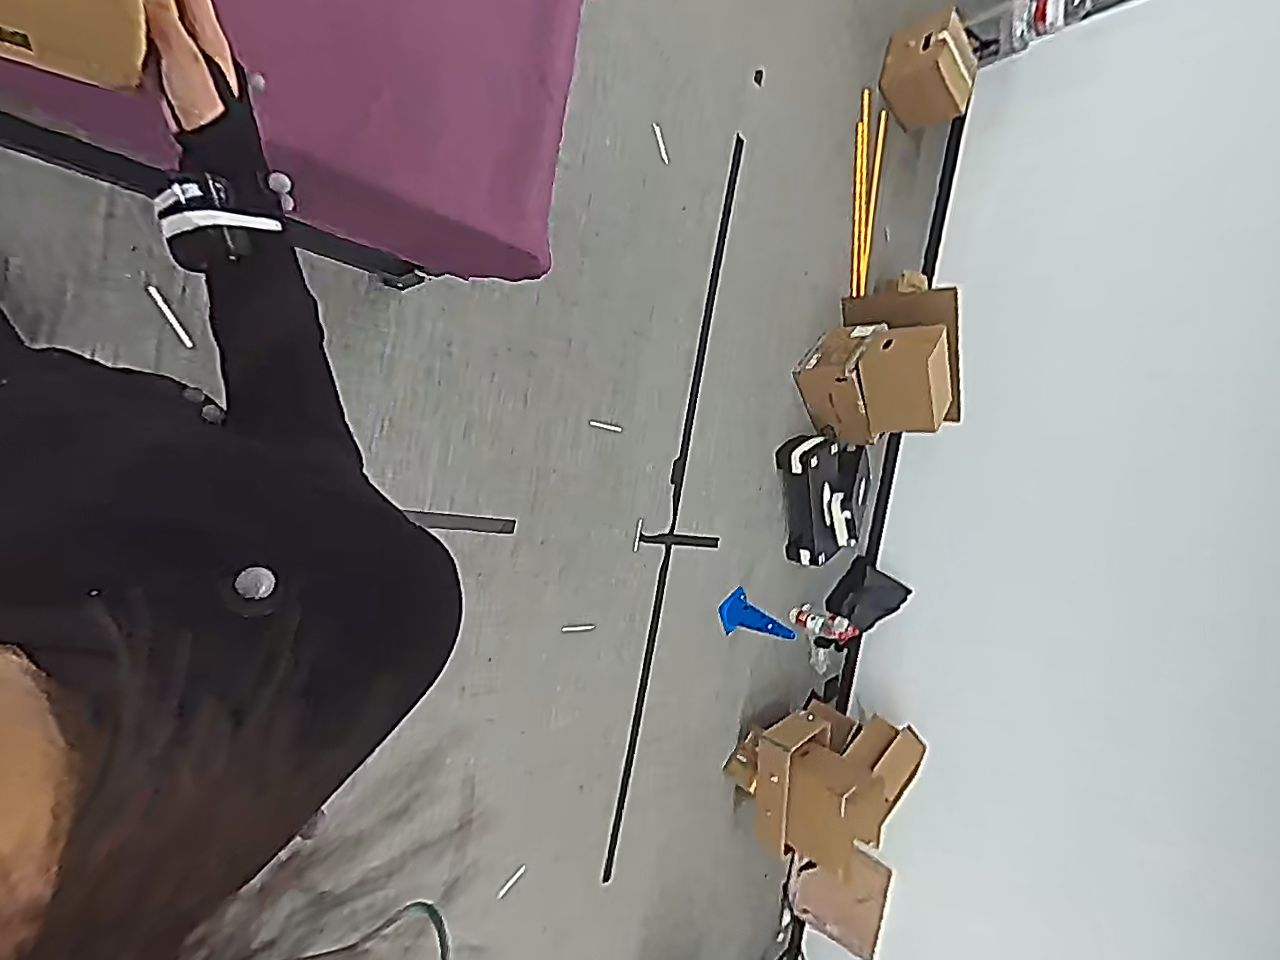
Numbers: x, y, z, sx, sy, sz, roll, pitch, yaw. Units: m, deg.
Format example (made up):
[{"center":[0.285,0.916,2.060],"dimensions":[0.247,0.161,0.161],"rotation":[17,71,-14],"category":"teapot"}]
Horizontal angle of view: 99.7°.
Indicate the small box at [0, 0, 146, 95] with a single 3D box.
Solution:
[{"center":[-0.382,-0.360,0.290],"dimensions":[0.168,0.176,0.179],"rotation":[-4,92,-42],"category":"small box"}]
